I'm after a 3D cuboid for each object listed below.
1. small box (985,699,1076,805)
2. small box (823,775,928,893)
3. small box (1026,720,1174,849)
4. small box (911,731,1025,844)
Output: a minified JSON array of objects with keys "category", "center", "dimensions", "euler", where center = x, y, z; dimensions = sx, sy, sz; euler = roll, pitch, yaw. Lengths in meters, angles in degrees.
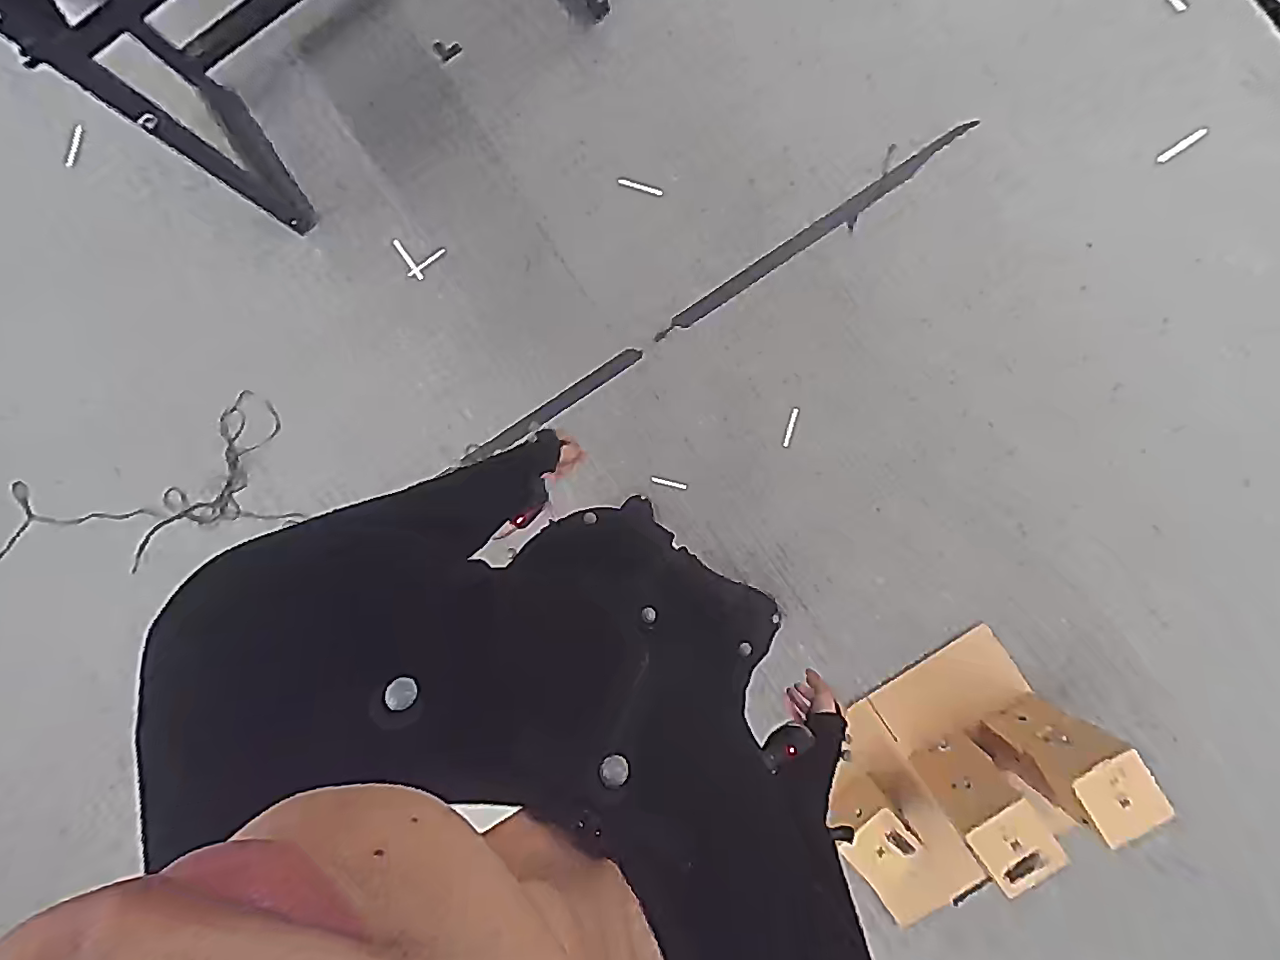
[{"category":"small box","center":[1.081,0.716,1.454],"dimensions":[0.168,0.176,0.179],"euler":[-31,87,3]},{"category":"small box","center":[0.634,0.958,1.482],"dimensions":[0.179,0.176,0.168],"euler":[-42,87,3]},{"category":"small box","center":[1.083,0.715,1.288],"dimensions":[0.168,0.176,0.179],"euler":[-30,88,2]},{"category":"small box","center":[0.880,0.825,1.467],"dimensions":[0.168,0.176,0.179],"euler":[-30,88,3]}]
